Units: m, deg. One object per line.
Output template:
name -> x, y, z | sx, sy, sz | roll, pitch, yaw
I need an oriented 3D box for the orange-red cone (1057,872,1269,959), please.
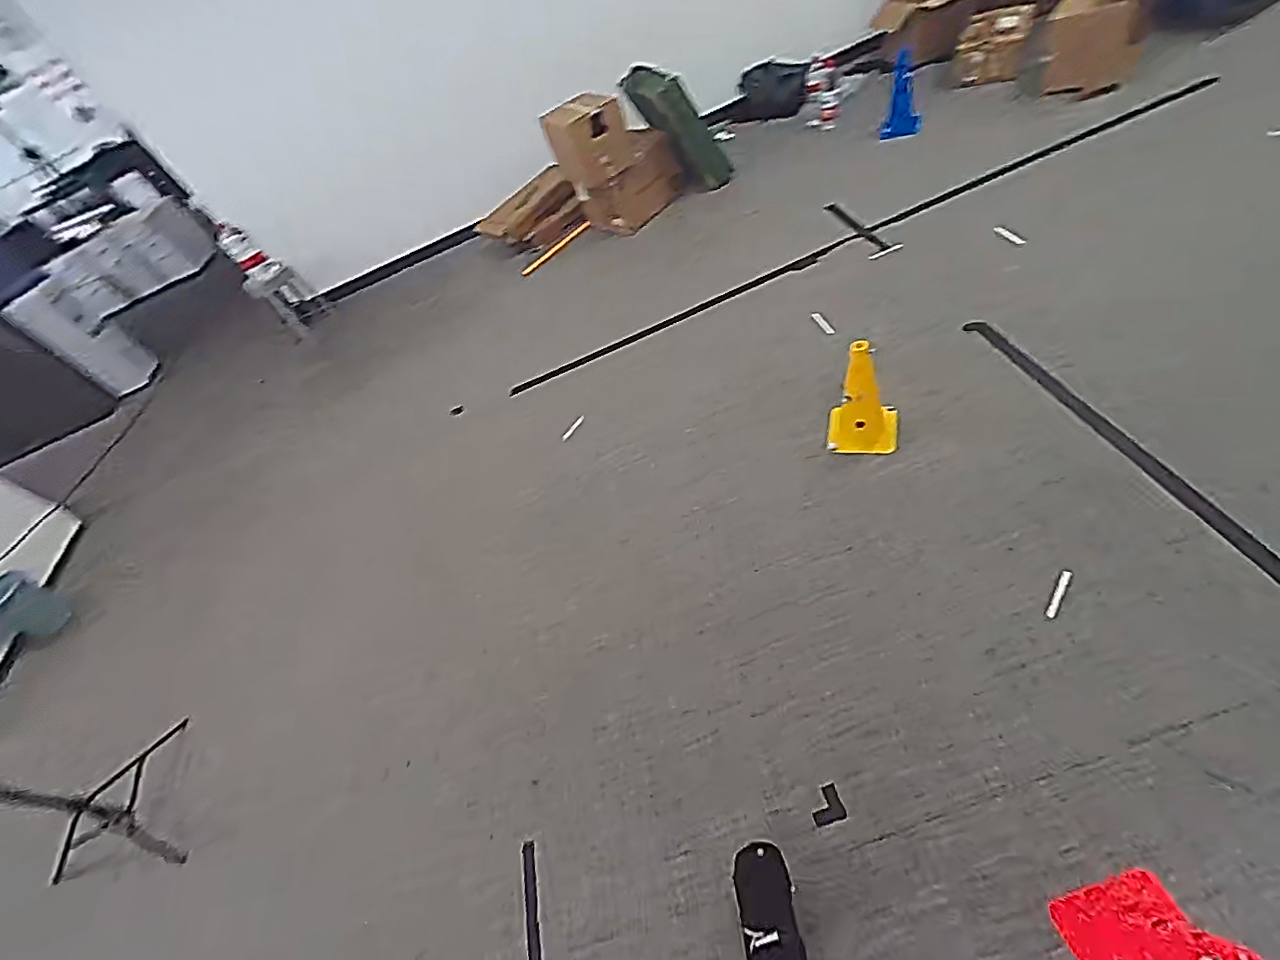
orange-red cone -> 0.807, 0.701, 0.793 | 0.198, 0.360, 0.199 | -23, 46, 3
